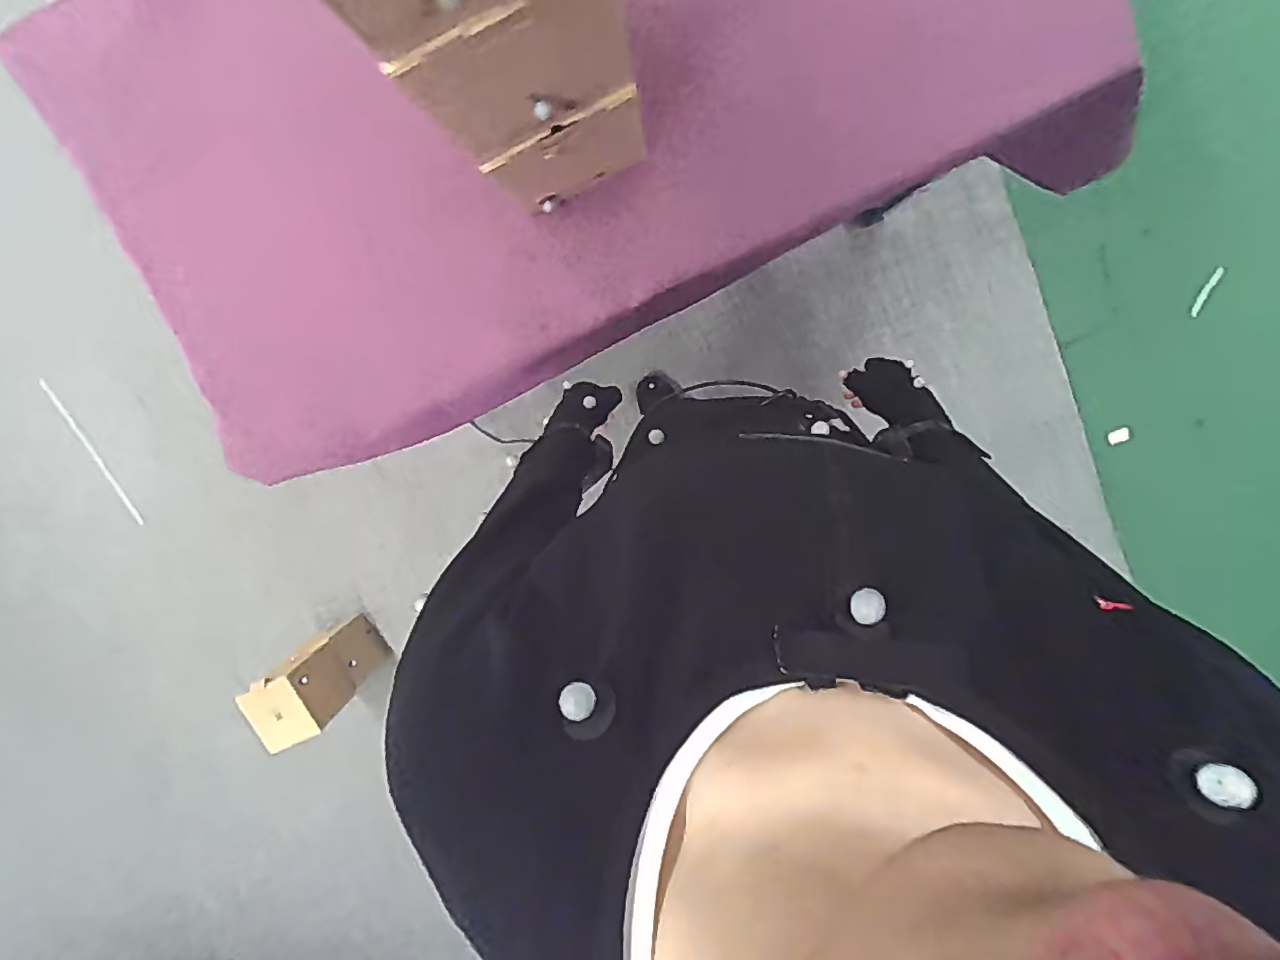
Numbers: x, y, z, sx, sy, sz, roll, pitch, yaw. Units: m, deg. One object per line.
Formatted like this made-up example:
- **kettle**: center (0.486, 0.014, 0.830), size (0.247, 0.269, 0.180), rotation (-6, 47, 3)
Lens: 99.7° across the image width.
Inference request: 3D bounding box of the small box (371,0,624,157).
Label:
- **small box**: center (-0.124, -0.398, 0.419), size (0.168, 0.176, 0.179), rotation (-22, 100, 9)

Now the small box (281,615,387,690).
- **small box**: center (-0.889, 0.528, 1.587), size (0.179, 0.176, 0.168), rotation (-25, 99, 10)

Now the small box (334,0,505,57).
- **small box**: center (-0.137, -0.368, 0.259), size (0.168, 0.176, 0.179), rotation (-23, 99, 9)

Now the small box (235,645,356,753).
- **small box**: center (-0.898, 0.573, 1.430), size (0.168, 0.176, 0.179), rotation (-25, 99, 9)

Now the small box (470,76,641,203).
- **small box**: center (-0.107, -0.425, 0.580), size (0.168, 0.176, 0.179), rotation (-22, 99, 8)
